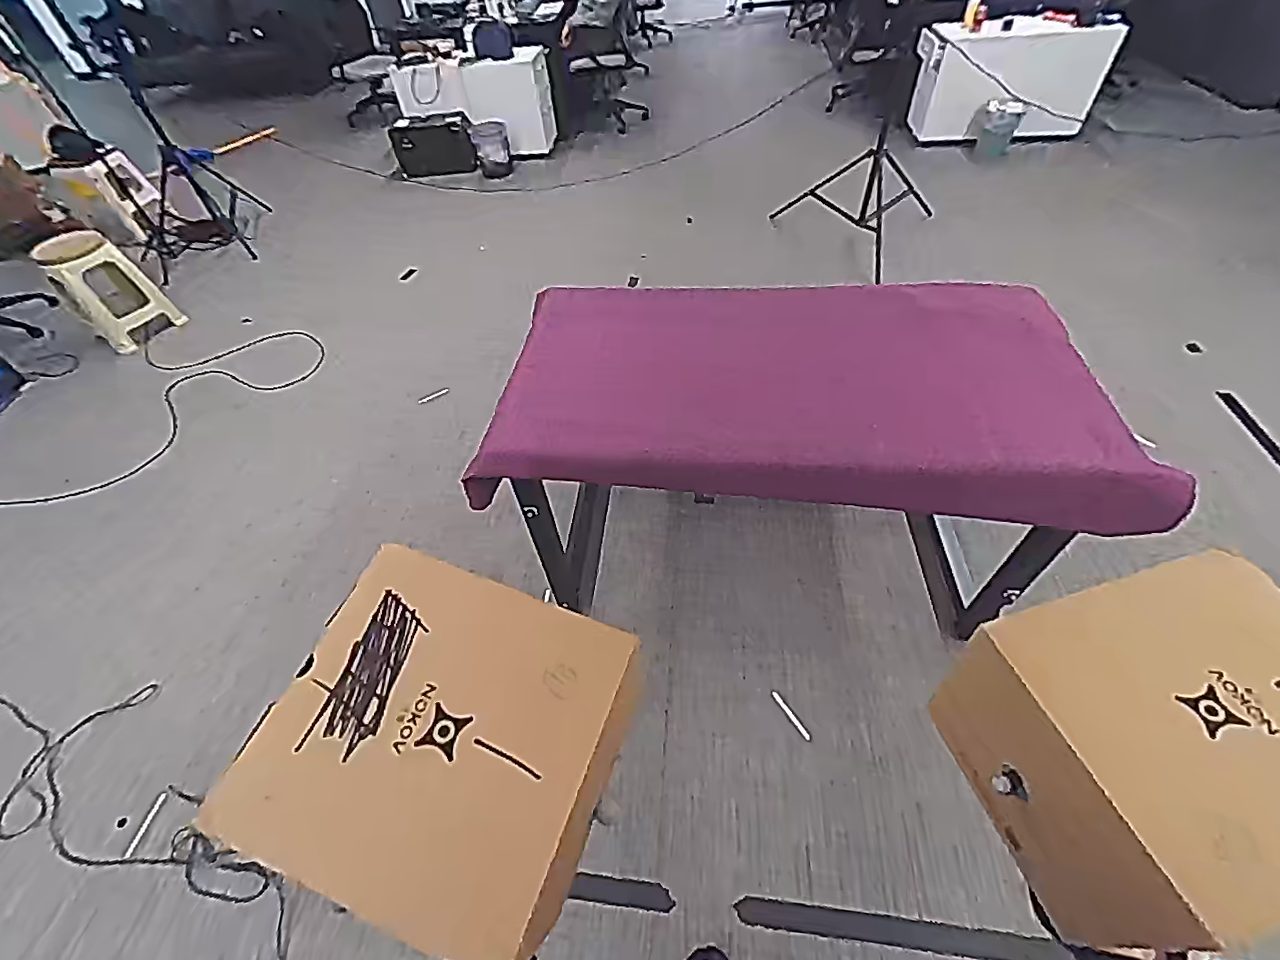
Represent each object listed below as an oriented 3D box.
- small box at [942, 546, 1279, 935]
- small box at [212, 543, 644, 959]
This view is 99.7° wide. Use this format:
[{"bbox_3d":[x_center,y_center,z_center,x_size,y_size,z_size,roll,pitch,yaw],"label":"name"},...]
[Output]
[{"bbox_3d":[0.332,0.176,0.358,0.179,0.176,0.168,-17,50,-2],"label":"small box"},{"bbox_3d":[-0.107,0.171,0.359,0.179,0.176,0.168,18,60,10],"label":"small box"}]
